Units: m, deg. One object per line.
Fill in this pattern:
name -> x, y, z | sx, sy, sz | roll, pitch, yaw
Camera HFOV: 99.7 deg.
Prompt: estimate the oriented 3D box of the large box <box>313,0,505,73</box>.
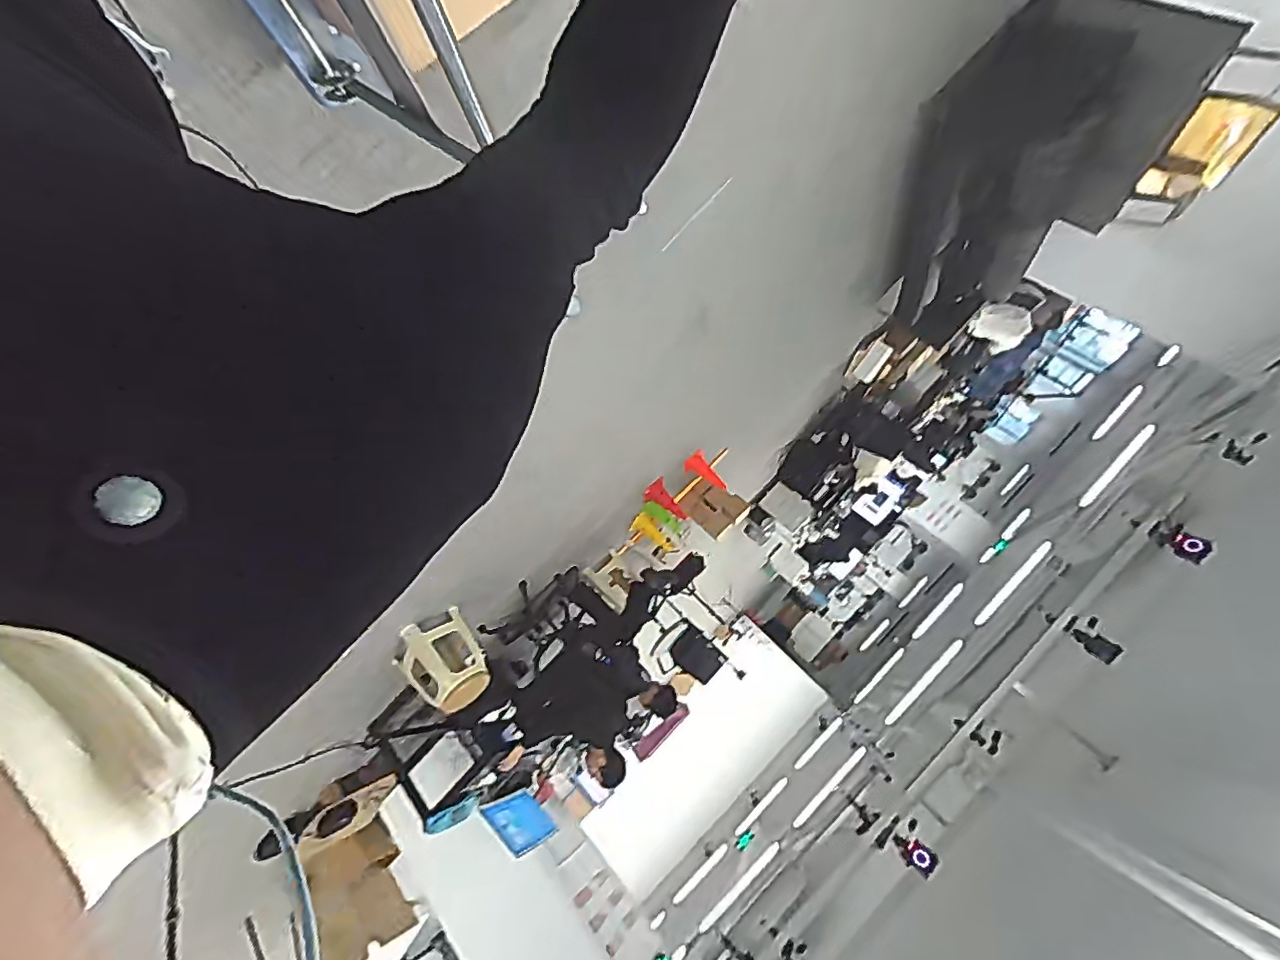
large box -> -0.395, -0.983, 0.885 | 0.408, 0.320, 0.320 | -44, 157, -9
